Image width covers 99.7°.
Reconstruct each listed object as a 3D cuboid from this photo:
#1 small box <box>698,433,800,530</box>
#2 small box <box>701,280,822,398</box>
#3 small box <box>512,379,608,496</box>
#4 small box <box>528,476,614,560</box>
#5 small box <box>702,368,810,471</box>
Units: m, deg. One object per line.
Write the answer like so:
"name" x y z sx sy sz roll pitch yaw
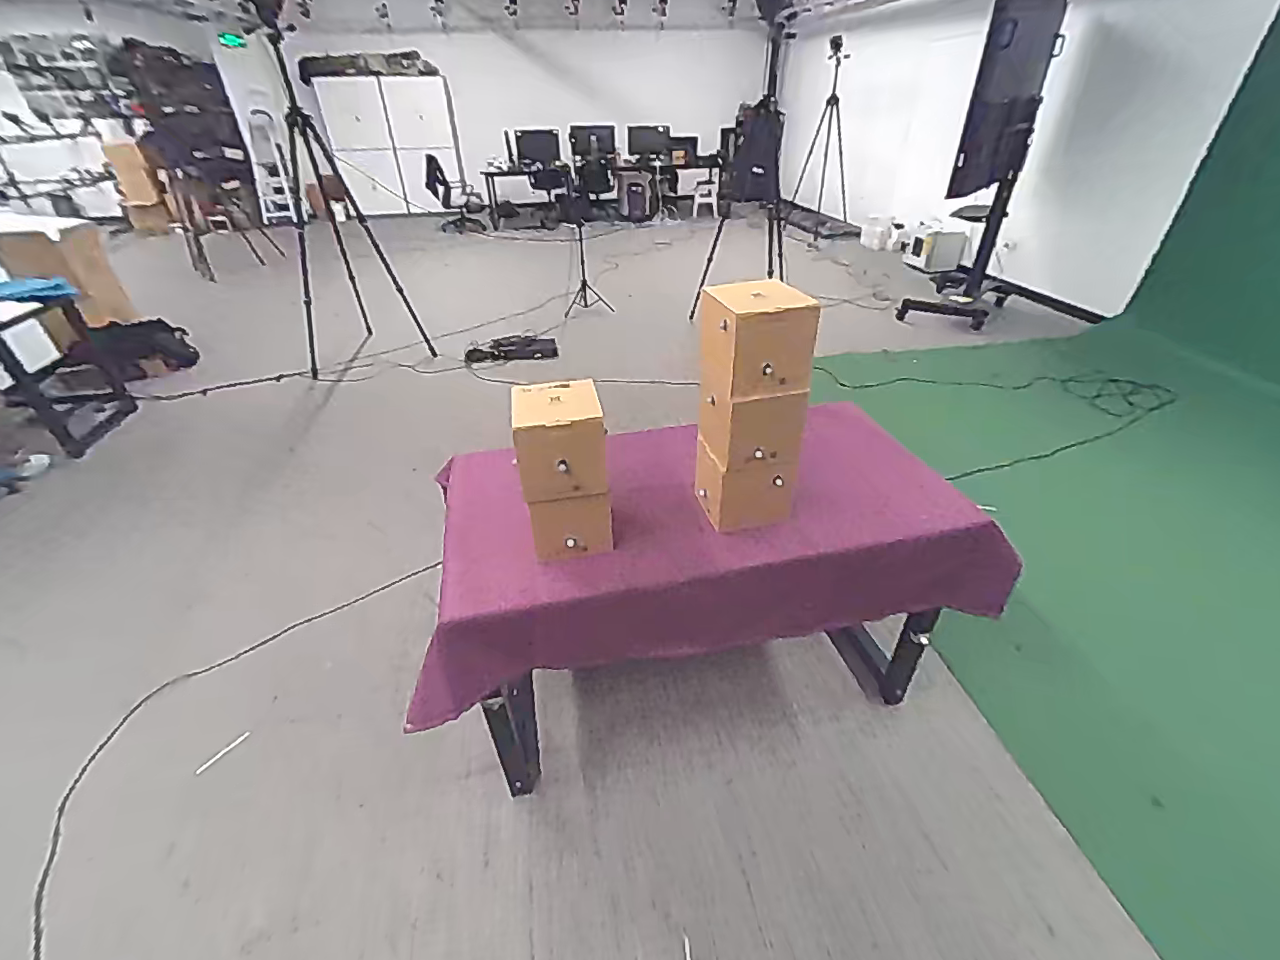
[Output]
"small box" 0.239 -0.007 1.236 0.179 0.176 0.168 -9 35 -10
"small box" 0.224 -0.277 1.054 0.168 0.176 0.179 -11 37 -12
"small box" -0.158 -0.080 1.072 0.168 0.176 0.179 -7 36 -9
"small box" -0.152 0.049 1.173 0.168 0.176 0.179 -8 36 -8
"small box" 0.233 -0.141 1.144 0.168 0.176 0.179 -10 37 -10
